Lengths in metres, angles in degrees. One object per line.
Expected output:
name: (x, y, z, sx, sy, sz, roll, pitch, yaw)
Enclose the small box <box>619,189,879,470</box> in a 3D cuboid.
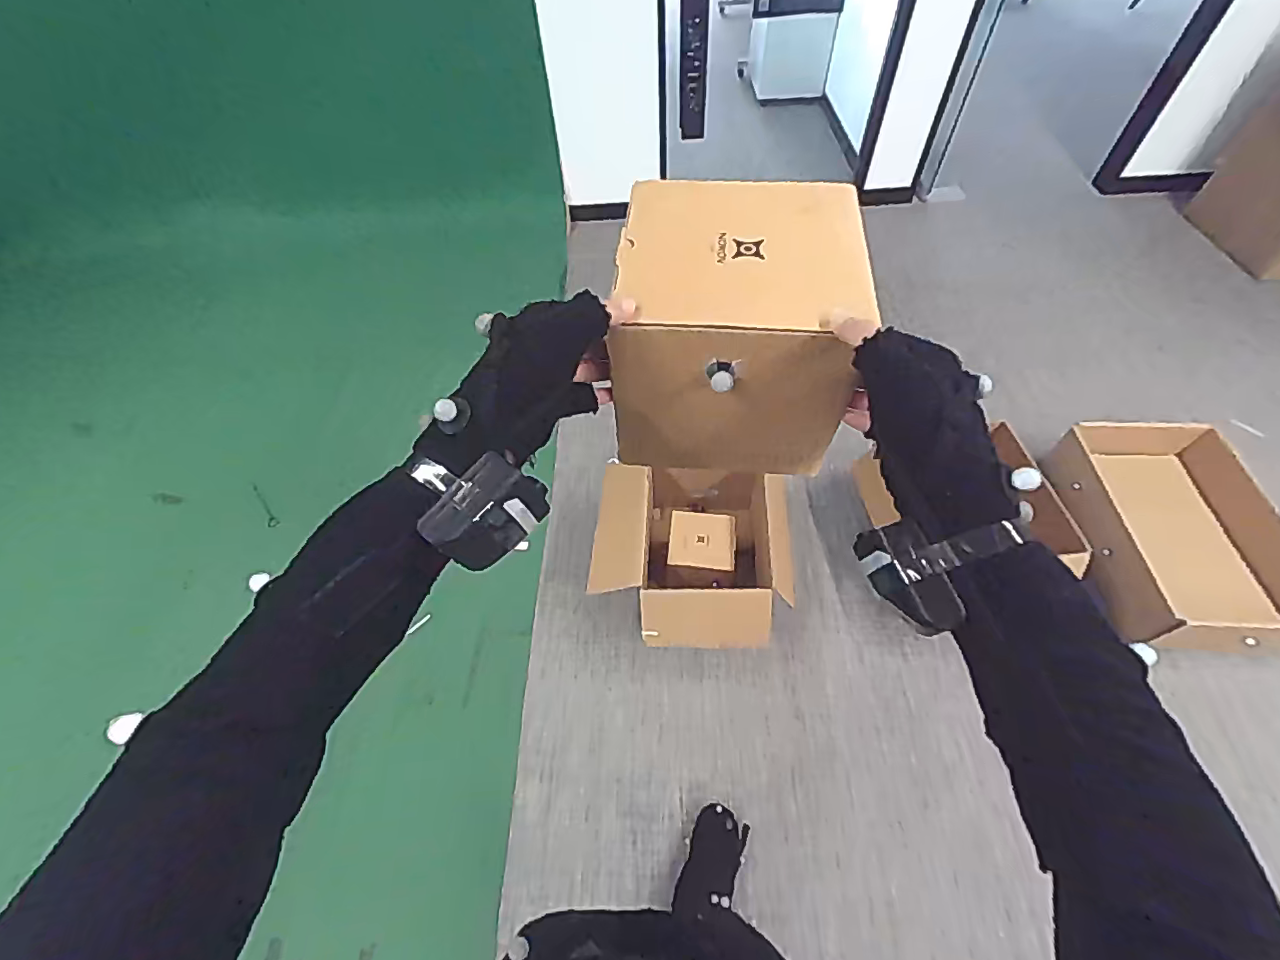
small box: (0.082, -0.122, 0.469, 0.179, 0.176, 0.168, 4, 58, 5)
